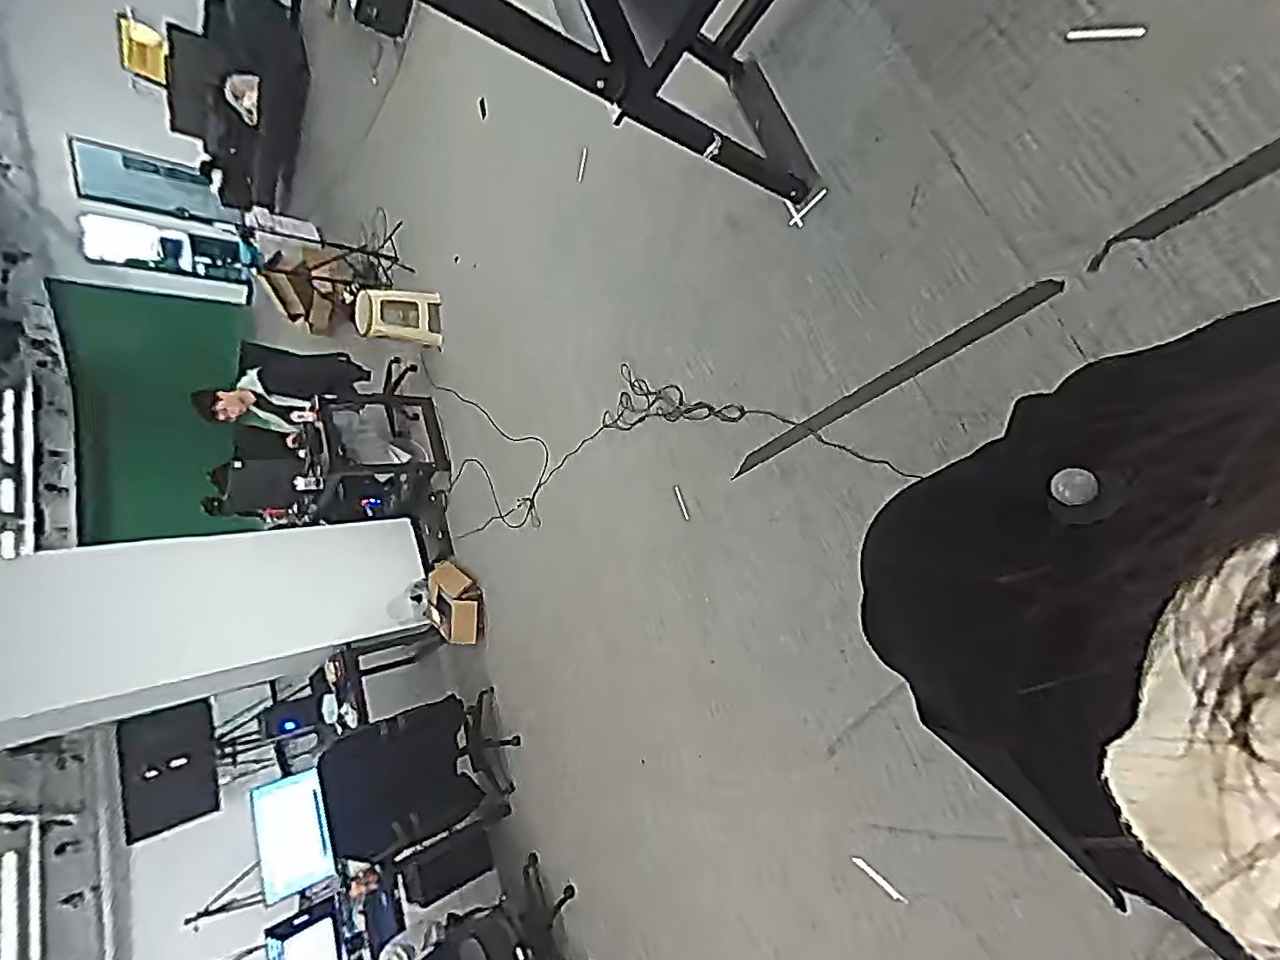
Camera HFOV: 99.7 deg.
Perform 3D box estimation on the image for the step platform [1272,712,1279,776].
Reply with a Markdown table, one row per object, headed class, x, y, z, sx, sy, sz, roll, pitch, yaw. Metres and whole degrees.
| class | x | y | z | sx | sy | sz | roll | pitch | yaw |
| --- | --- | --- | --- | --- | --- | --- | --- | --- | --- |
| step platform | 1.335 | 0.461 | 0.682 | 0.684 | 0.204 | 0.286 | -26 | 73 | 45 |
